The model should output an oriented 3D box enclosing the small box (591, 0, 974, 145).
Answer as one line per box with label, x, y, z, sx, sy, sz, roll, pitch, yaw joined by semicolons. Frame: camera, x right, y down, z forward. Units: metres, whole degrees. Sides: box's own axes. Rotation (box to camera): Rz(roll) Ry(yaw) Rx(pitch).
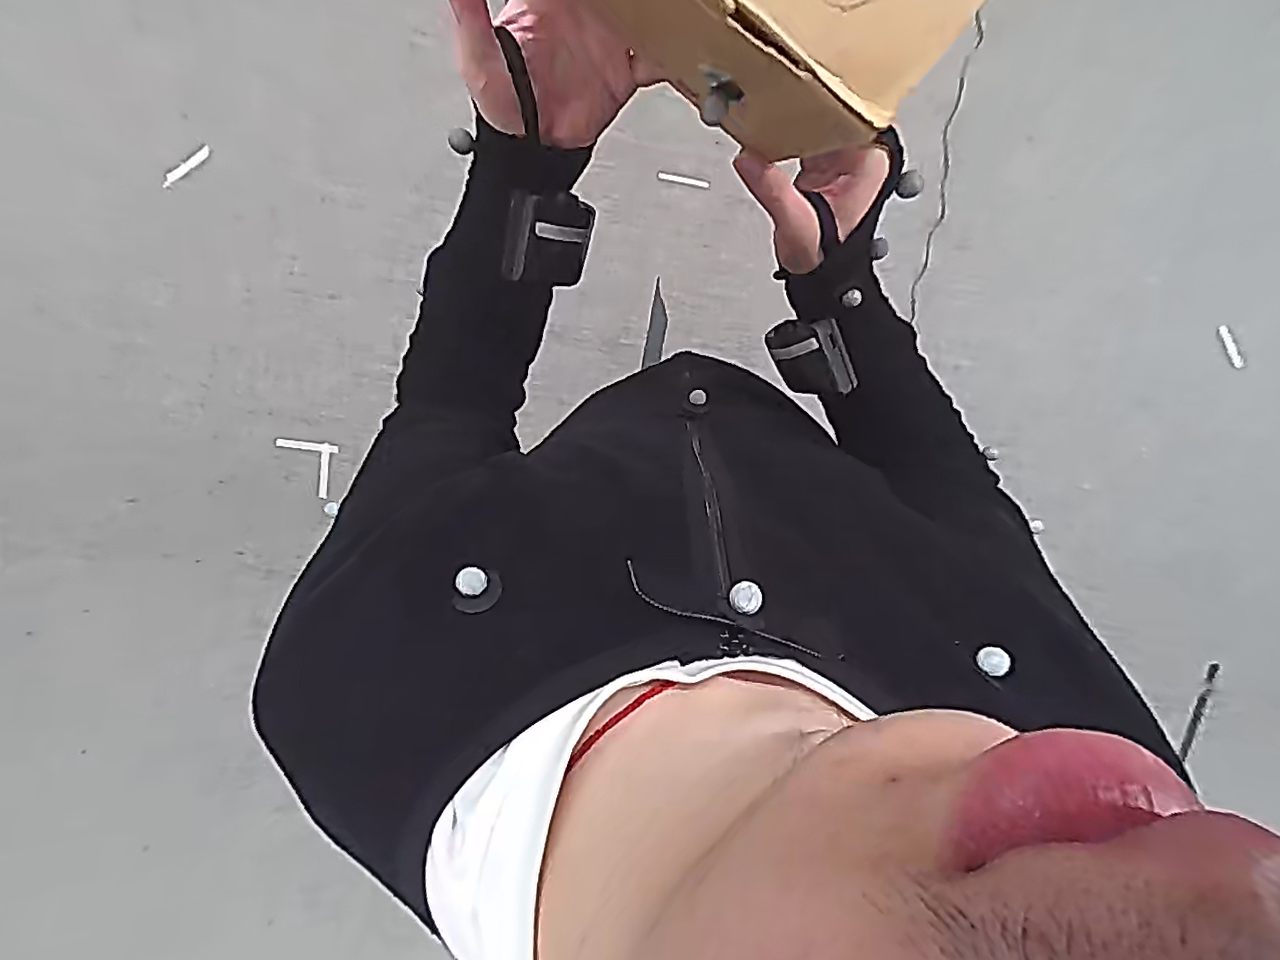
small box;0.059;-0.258;0.201;0.168;0.176;0.179;29;113;-17
